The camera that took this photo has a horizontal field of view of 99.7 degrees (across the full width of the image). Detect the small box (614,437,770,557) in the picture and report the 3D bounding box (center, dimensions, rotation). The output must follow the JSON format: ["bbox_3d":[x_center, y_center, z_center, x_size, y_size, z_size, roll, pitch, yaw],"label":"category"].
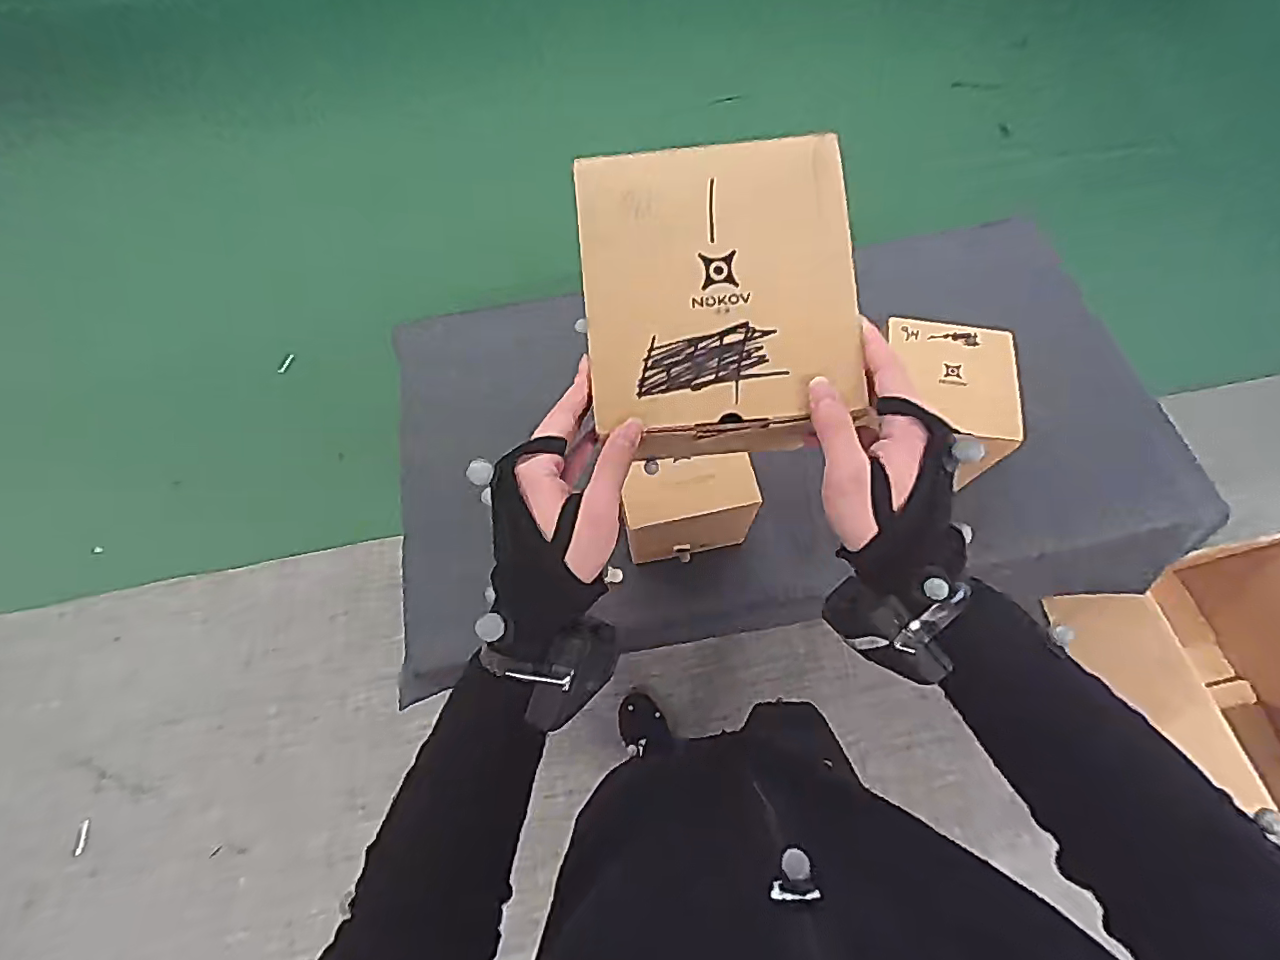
[{"bbox_3d":[0.058,-0.012,0.739,0.168,0.176,0.179,-12,68,-3],"label":"small box"}]

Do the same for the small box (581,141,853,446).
[{"bbox_3d":[0.050,-0.122,0.424,0.168,0.176,0.179,-4,86,0],"label":"small box"}]

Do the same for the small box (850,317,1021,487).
[{"bbox_3d":[0.415,-0.105,0.785,0.168,0.176,0.179,10,68,6],"label":"small box"}]
